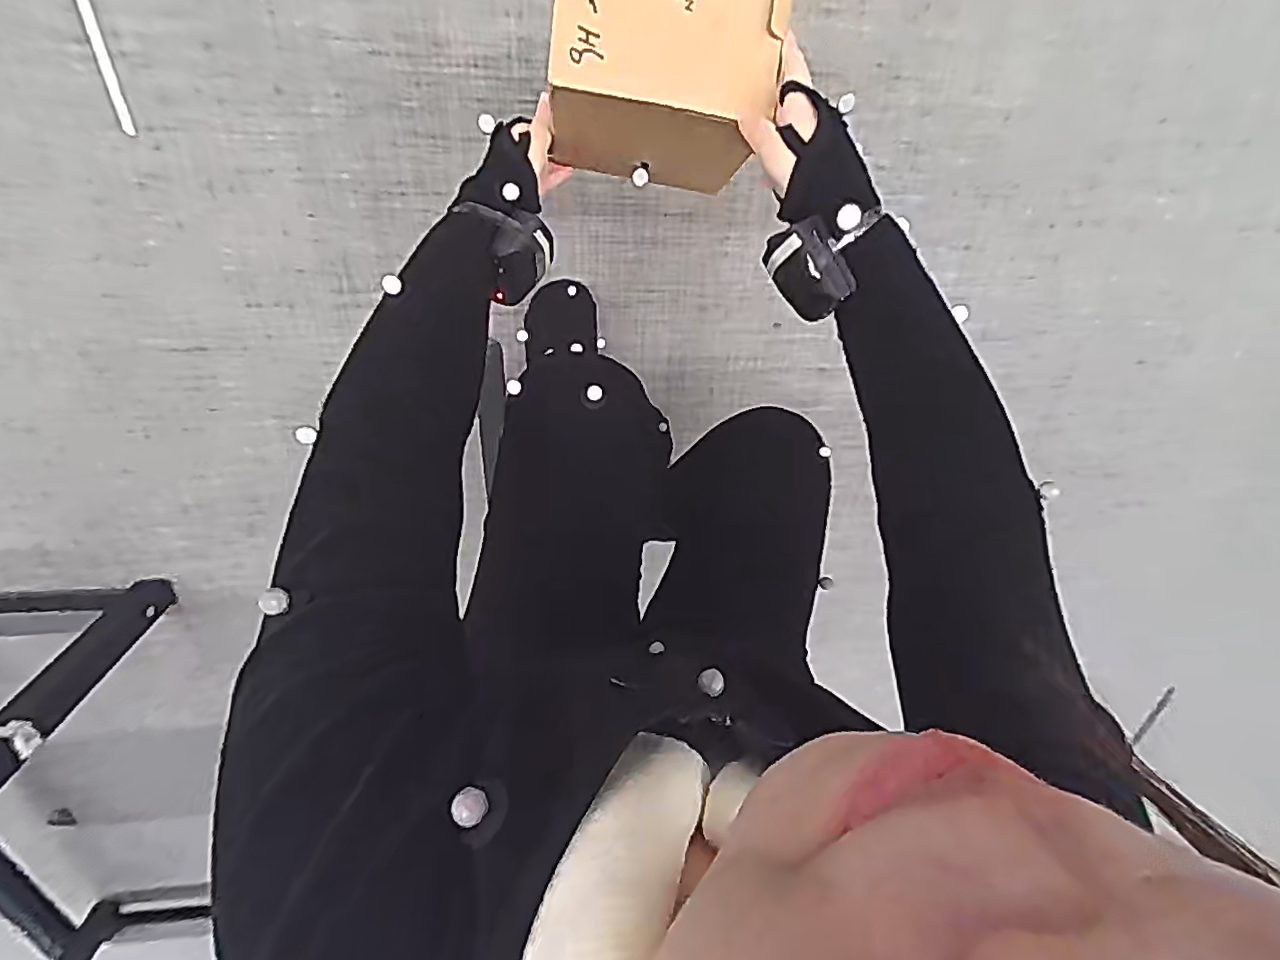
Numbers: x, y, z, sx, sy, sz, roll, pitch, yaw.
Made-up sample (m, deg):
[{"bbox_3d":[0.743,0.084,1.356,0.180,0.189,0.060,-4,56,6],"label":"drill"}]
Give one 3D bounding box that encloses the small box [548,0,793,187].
[{"bbox_3d":[0.017,-0.375,0.468,0.179,0.176,0.168,5,101,-9],"label":"small box"}]
